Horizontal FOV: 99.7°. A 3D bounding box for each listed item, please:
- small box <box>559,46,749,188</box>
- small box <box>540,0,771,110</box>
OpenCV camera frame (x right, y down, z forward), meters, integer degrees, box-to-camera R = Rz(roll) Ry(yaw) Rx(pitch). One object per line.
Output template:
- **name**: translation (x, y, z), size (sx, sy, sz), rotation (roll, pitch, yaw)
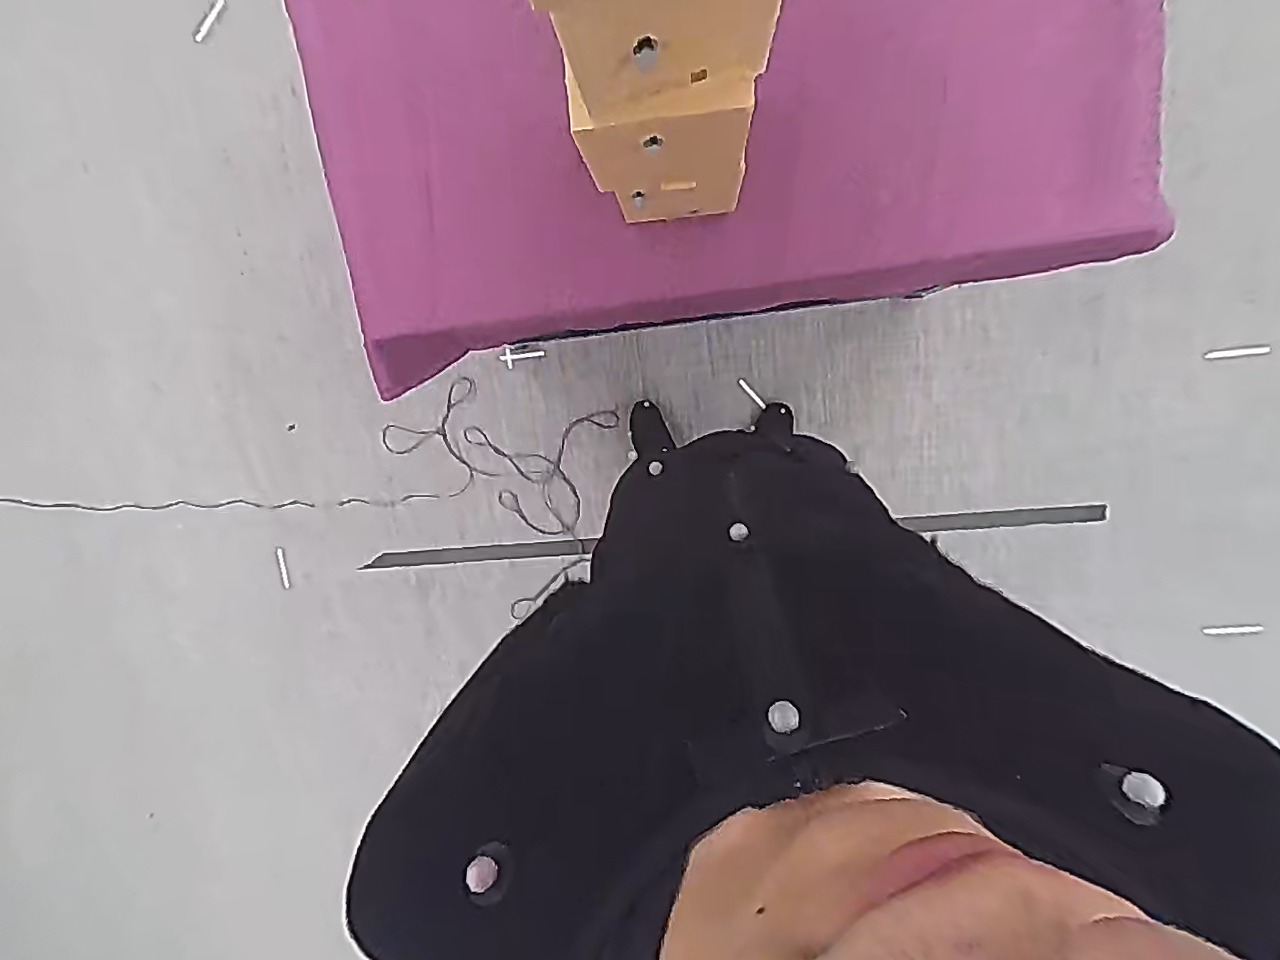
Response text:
- **small box**: translation (0.017, -0.430, 0.572), size (0.179, 0.176, 0.168), rotation (-4, 100, 6)
- **small box**: translation (0.006, -0.419, 0.409), size (0.168, 0.176, 0.179), rotation (-12, 98, 7)
